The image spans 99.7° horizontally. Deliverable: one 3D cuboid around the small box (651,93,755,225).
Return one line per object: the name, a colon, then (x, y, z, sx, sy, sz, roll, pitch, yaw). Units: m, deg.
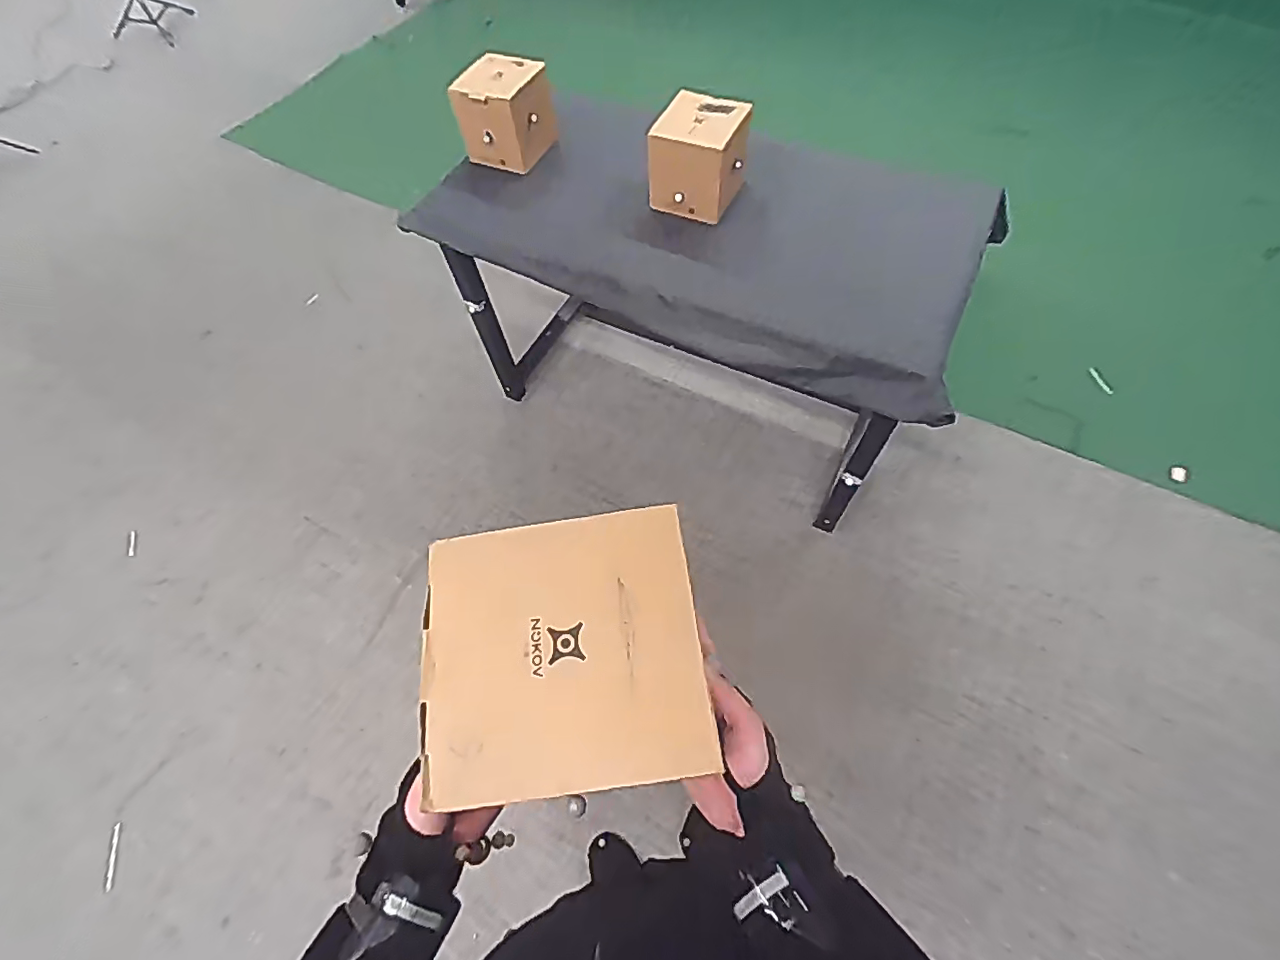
small box: (0.134, -0.696, 1.179, 0.168, 0.176, 0.179, 22, 66, 16)

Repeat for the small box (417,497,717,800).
small box: (-0.044, 0.130, 0.408, 0.179, 0.176, 0.168, -9, 65, 0)

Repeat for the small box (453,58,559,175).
small box: (-0.313, -0.876, 1.310, 0.168, 0.176, 0.179, 20, 65, 14)
